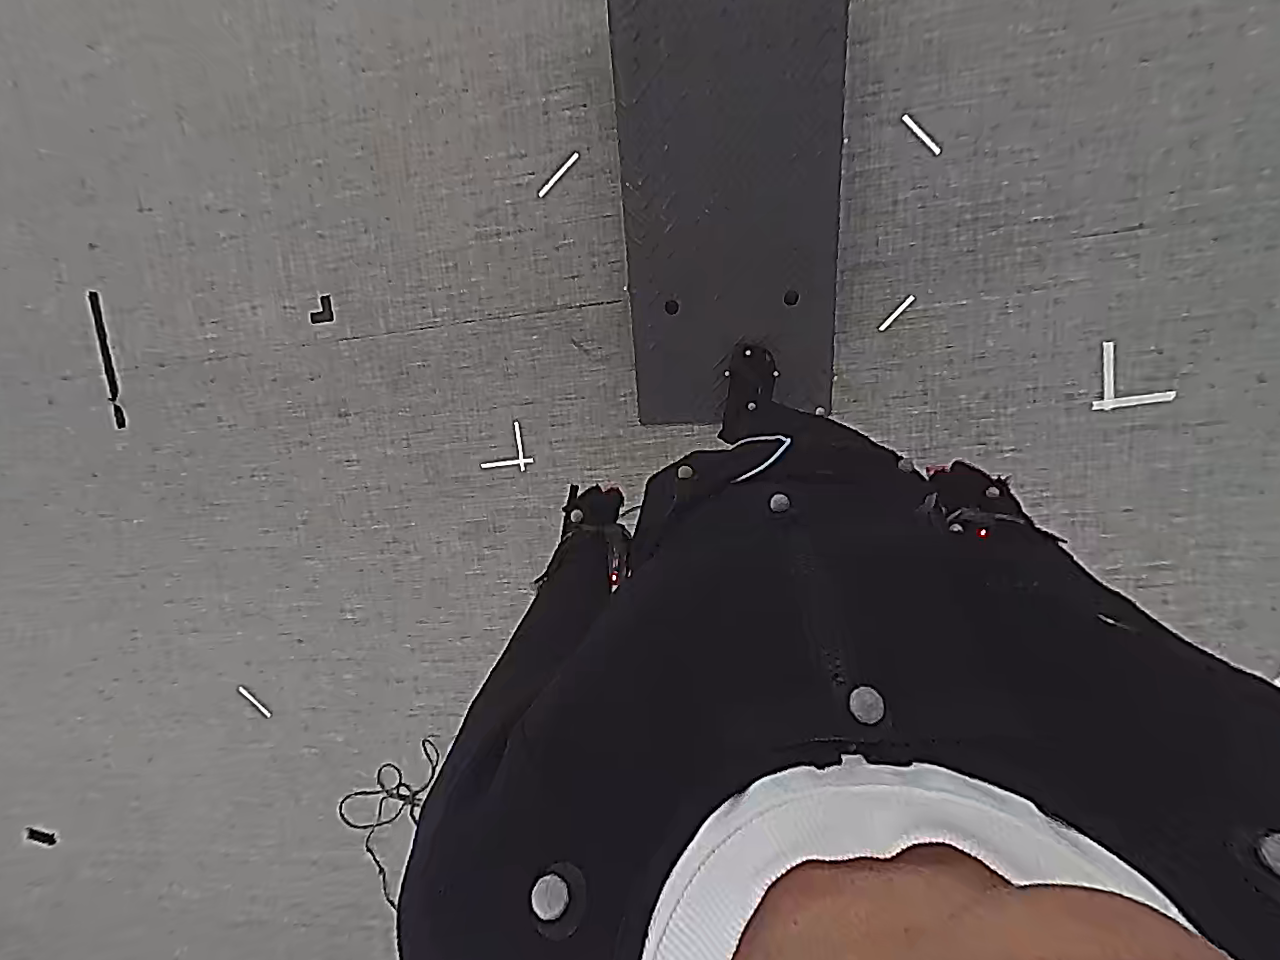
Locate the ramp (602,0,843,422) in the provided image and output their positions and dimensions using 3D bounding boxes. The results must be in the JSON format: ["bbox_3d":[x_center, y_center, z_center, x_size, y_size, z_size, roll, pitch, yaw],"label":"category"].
[{"bbox_3d":[0.197,-0.630,1.236,0.509,0.206,0.991,-4,100,7],"label":"ramp"}]
